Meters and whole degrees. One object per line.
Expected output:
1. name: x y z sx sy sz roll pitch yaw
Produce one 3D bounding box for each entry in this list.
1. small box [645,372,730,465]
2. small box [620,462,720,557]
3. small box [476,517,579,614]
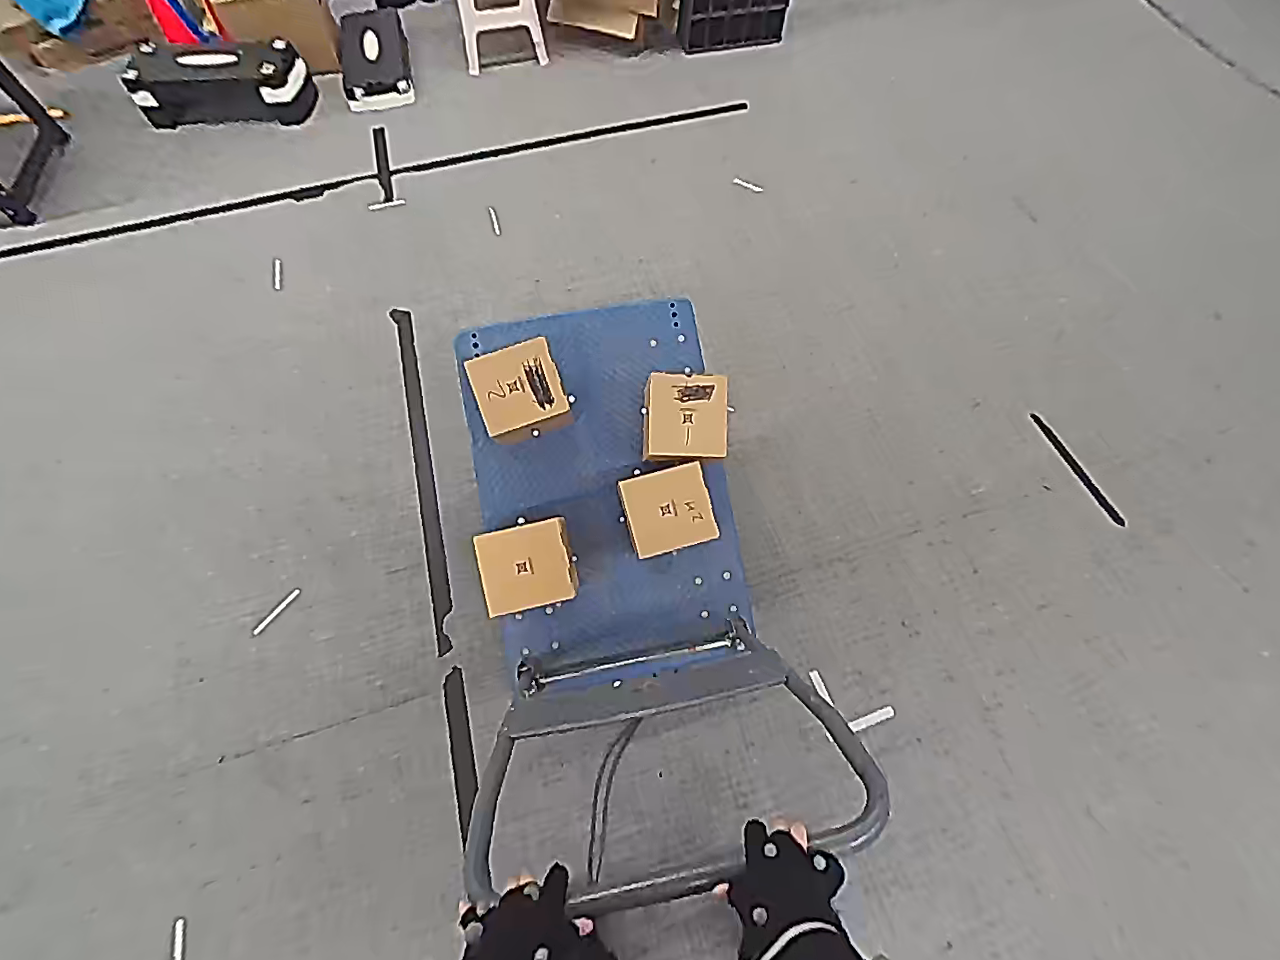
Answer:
1. small box: 0.100 -0.130 1.202 0.168 0.176 0.179 2 87 -3
2. small box: 0.058 0.066 1.186 0.179 0.176 0.168 -15 88 -4
3. small box: -0.234 0.178 1.162 0.179 0.176 0.168 -13 87 -6
